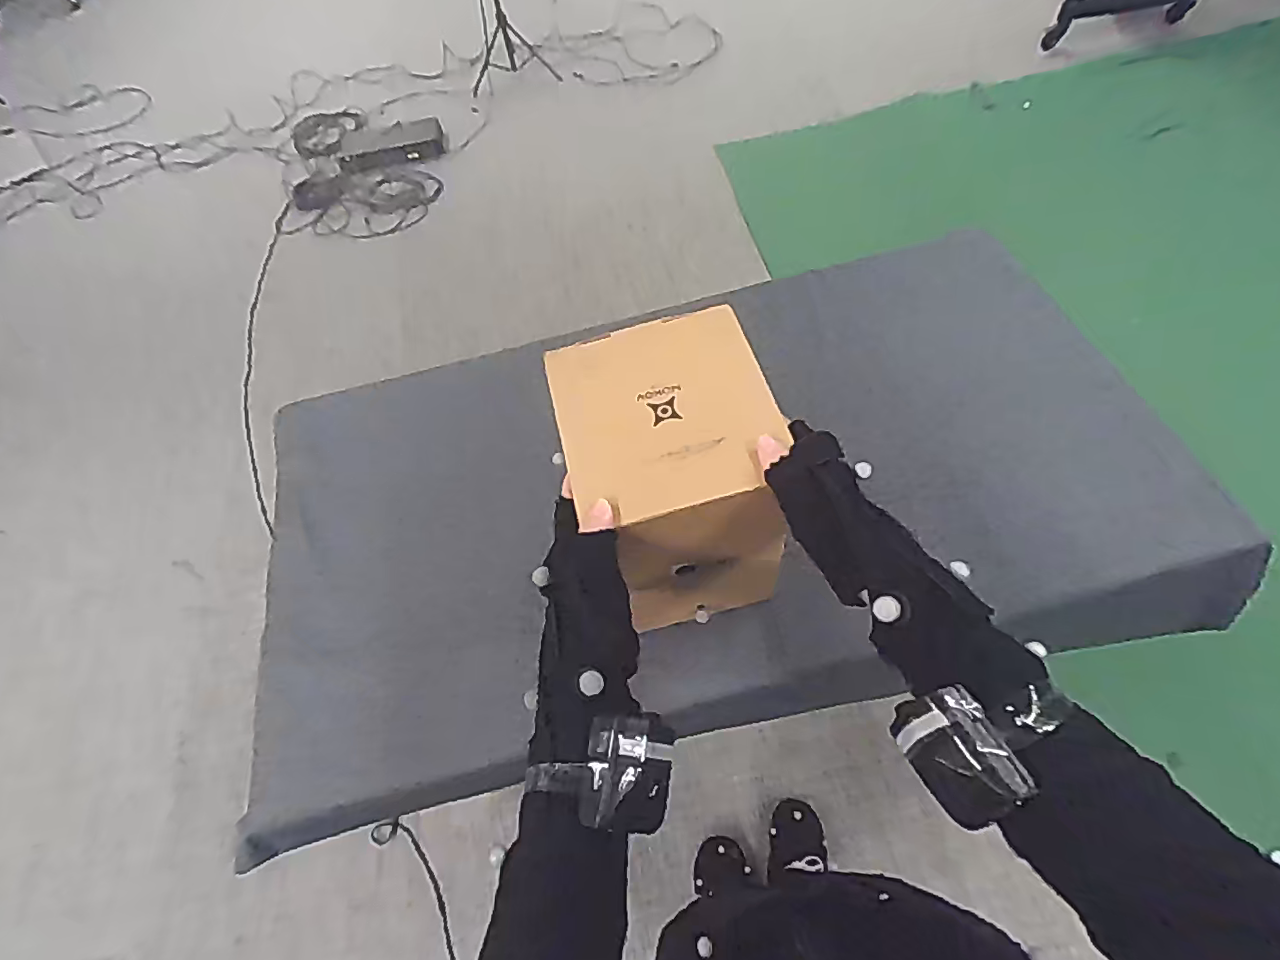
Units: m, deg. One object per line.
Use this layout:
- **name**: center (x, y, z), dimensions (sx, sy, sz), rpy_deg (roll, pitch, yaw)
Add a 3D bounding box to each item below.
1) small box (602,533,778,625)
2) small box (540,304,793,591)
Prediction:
- **small box**: center (0.041, 0.054, 0.630), dimensions (0.179, 0.176, 0.168), rpy_deg (-14, 61, -1)
- **small box**: center (0.020, -0.020, 0.487), dimensions (0.168, 0.176, 0.179), rpy_deg (-15, 62, 0)
